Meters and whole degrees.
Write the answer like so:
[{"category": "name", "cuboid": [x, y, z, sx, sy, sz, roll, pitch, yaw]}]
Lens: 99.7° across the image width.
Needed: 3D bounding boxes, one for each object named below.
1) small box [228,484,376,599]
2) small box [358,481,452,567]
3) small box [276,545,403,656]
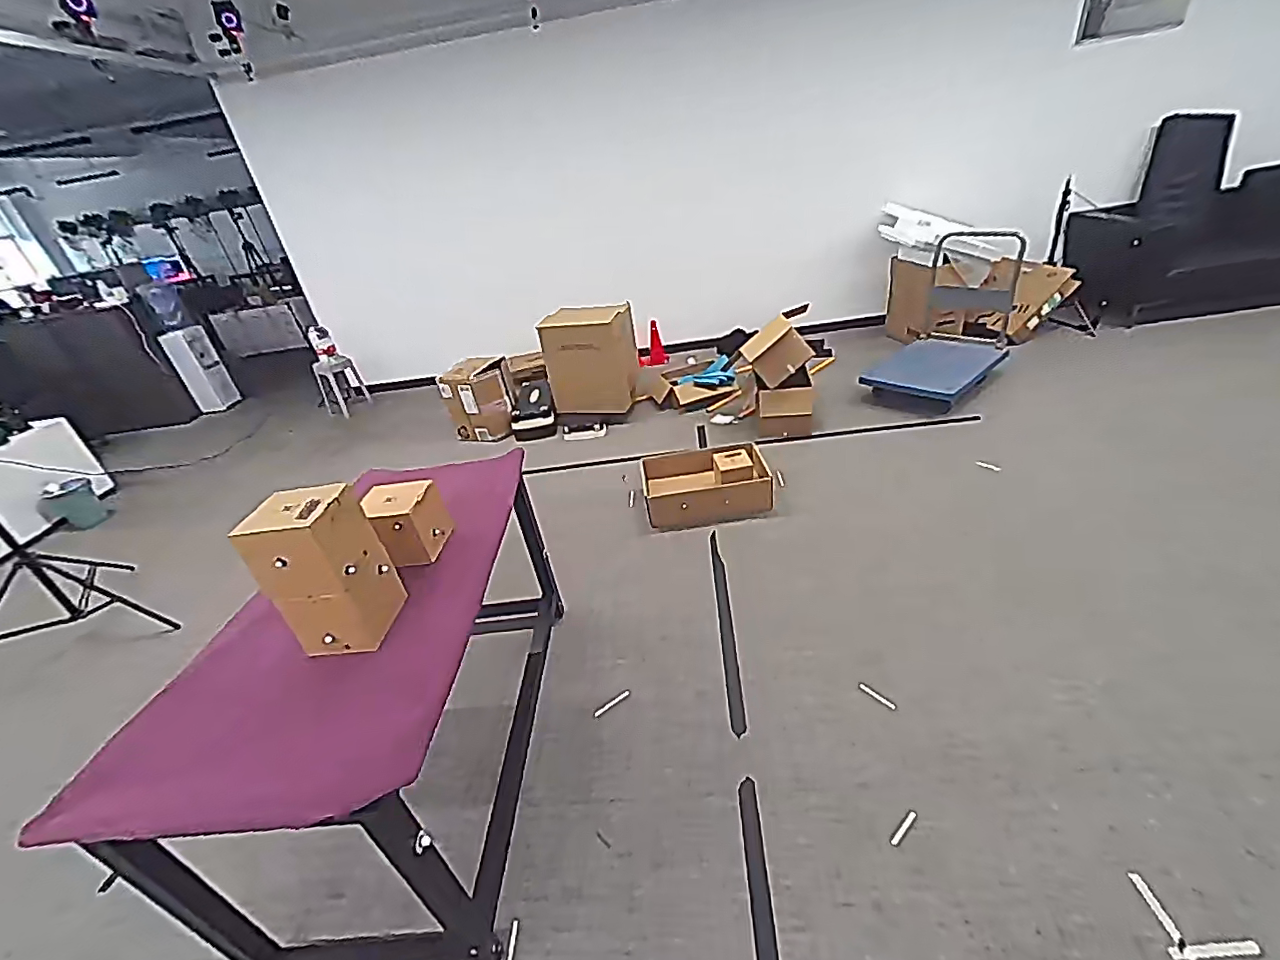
[{"category": "small box", "cuboid": [-0.695, 0.131, 1.140, 0.179, 0.176, 0.168, -8, 30, 5]}, {"category": "small box", "cuboid": [-0.641, 0.124, 1.462, 0.179, 0.176, 0.168, -7, 31, 6]}, {"category": "small box", "cuboid": [-0.663, 0.270, 1.222, 0.168, 0.176, 0.179, -7, 31, 6]}]
